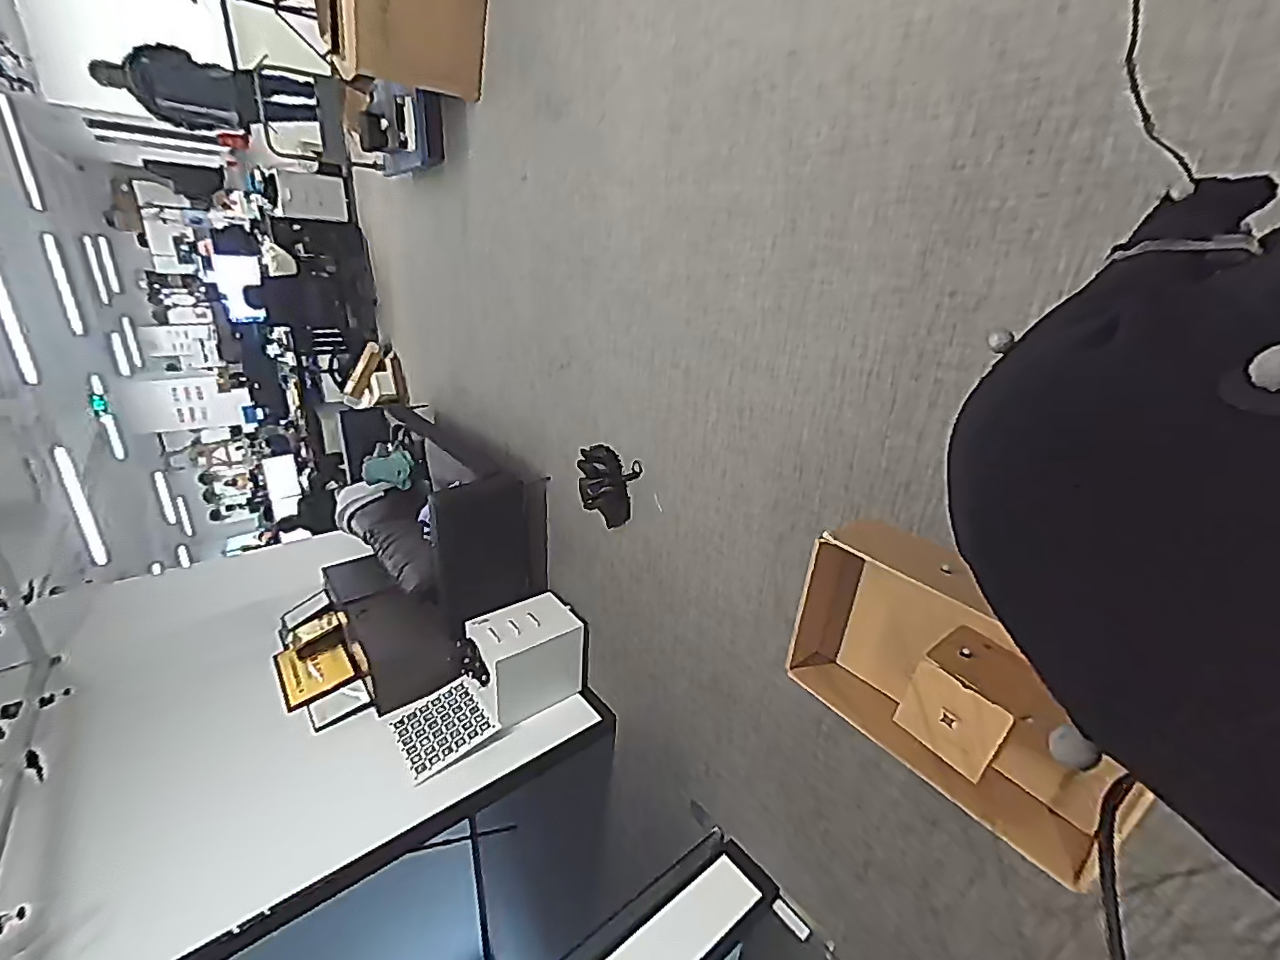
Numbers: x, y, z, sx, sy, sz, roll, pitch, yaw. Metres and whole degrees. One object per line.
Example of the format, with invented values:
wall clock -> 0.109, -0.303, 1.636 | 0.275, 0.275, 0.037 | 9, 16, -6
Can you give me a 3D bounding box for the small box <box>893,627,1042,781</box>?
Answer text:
small box -> 0.622, 0.413, 1.027 | 0.168, 0.176, 0.179 | 35, 130, 44
